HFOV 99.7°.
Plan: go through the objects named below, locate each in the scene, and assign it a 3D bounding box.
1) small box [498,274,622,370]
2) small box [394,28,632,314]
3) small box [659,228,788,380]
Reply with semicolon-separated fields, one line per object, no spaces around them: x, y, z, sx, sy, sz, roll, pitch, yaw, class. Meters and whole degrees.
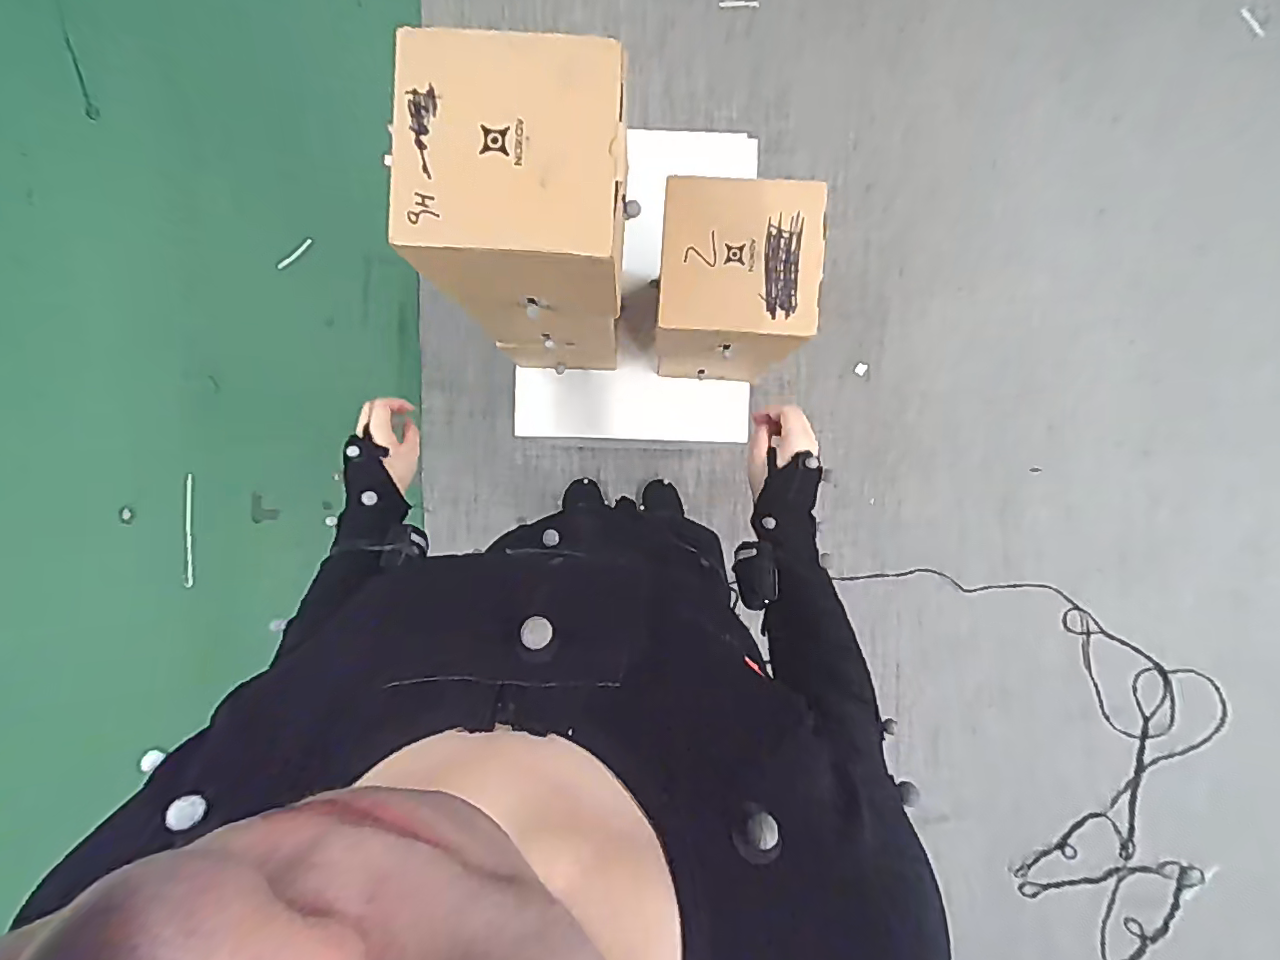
-0.114;-0.273;0.825;0.168;0.176;0.179;2;93;0;small box
-0.101;-0.259;0.496;0.179;0.176;0.168;4;91;-2;small box
0.118;-0.257;0.826;0.168;0.176;0.179;3;92;1;small box
